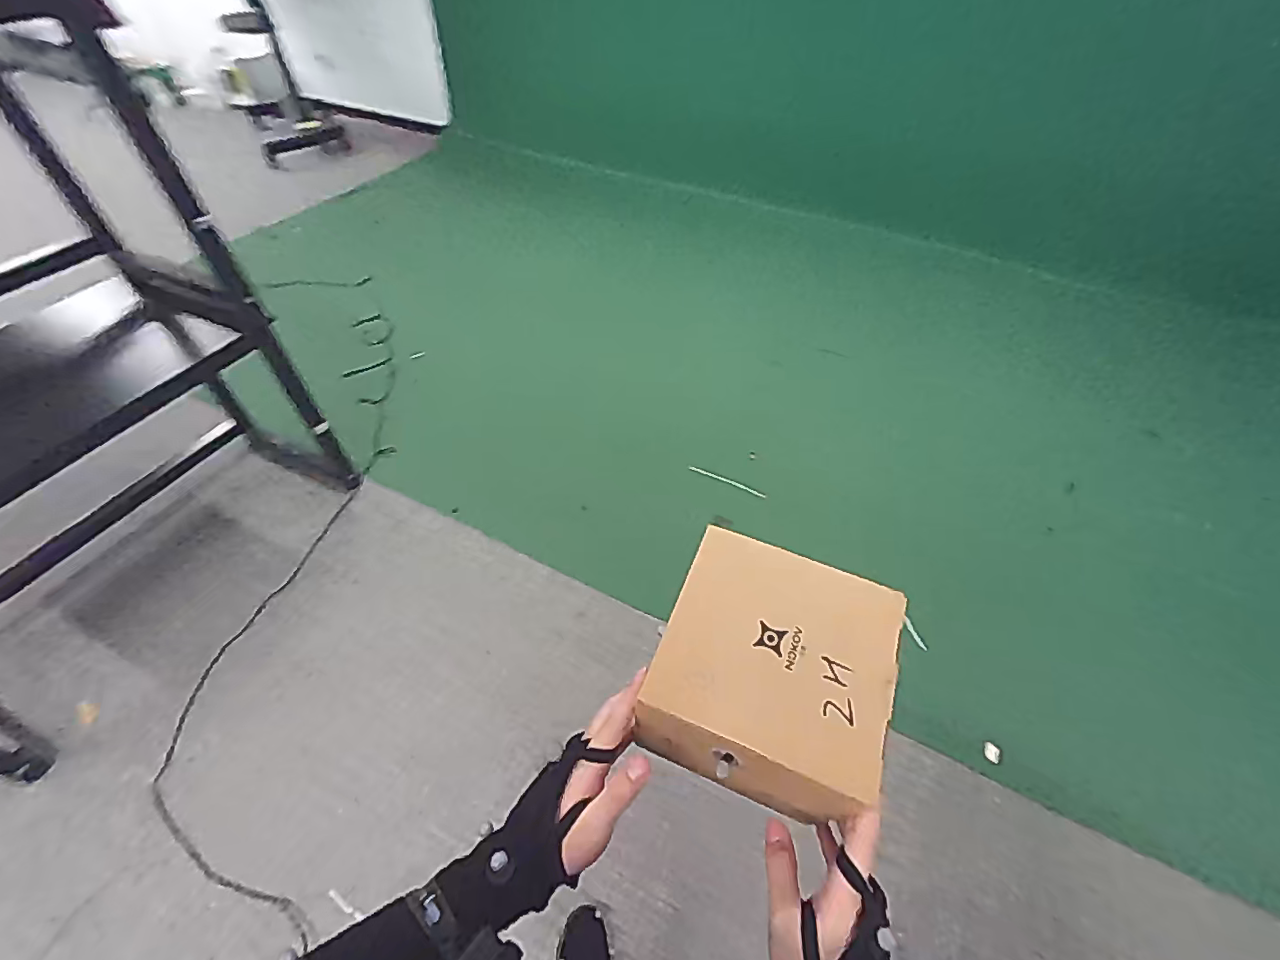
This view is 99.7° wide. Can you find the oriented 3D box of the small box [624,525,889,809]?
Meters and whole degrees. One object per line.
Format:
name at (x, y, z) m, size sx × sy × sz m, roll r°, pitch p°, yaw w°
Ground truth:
small box at (0.097, 0.174, 0.489) m, size 0.179 × 0.176 × 0.168 m, roll 19°, pitch 56°, yaw 13°
